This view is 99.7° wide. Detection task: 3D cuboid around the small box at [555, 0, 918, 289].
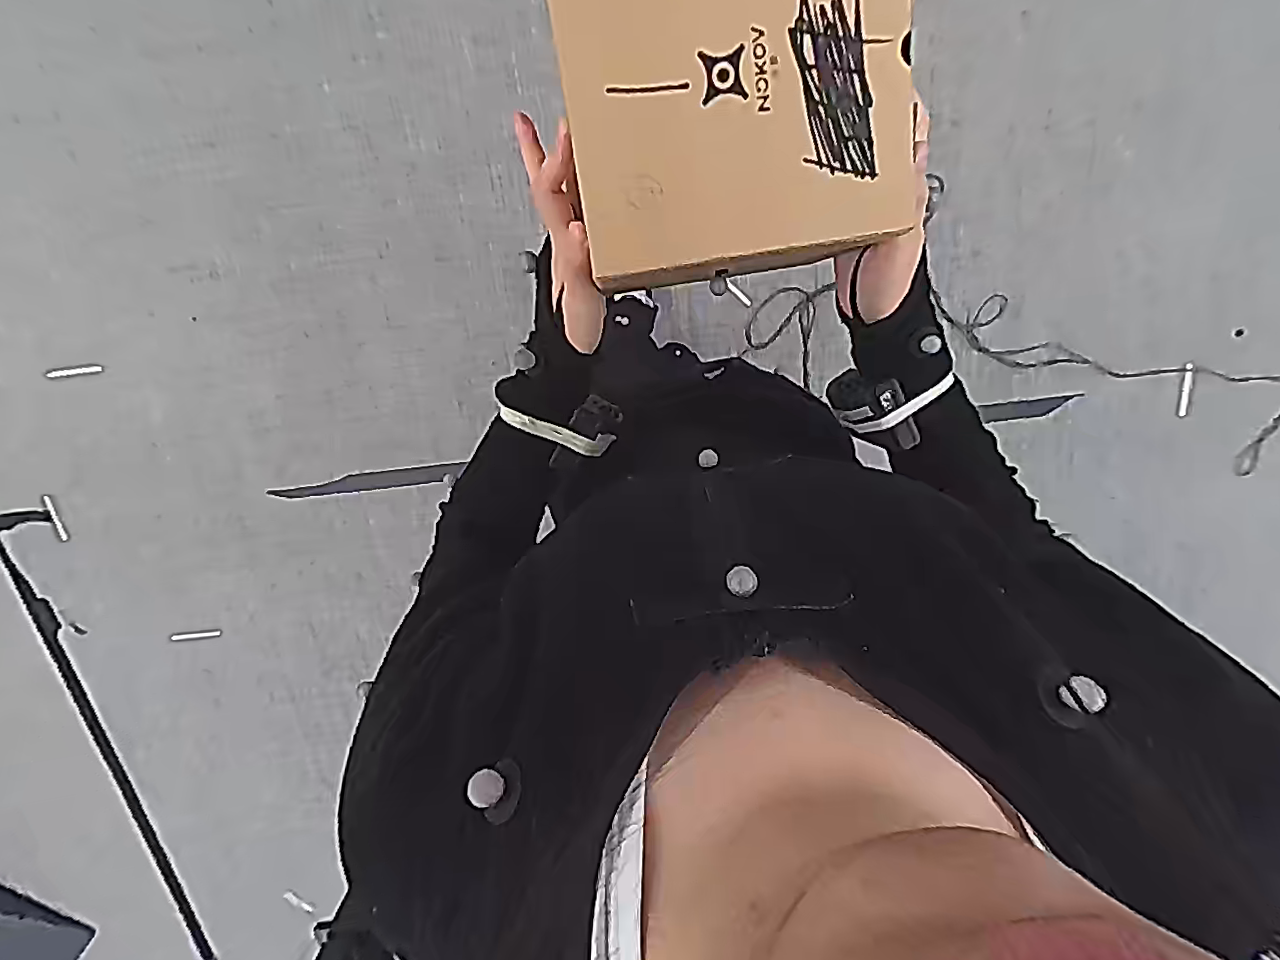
[{"bbox_3d":[0.047,-0.220,0.341,0.179,0.176,0.168,-8,105,0],"label":"small box"}]
